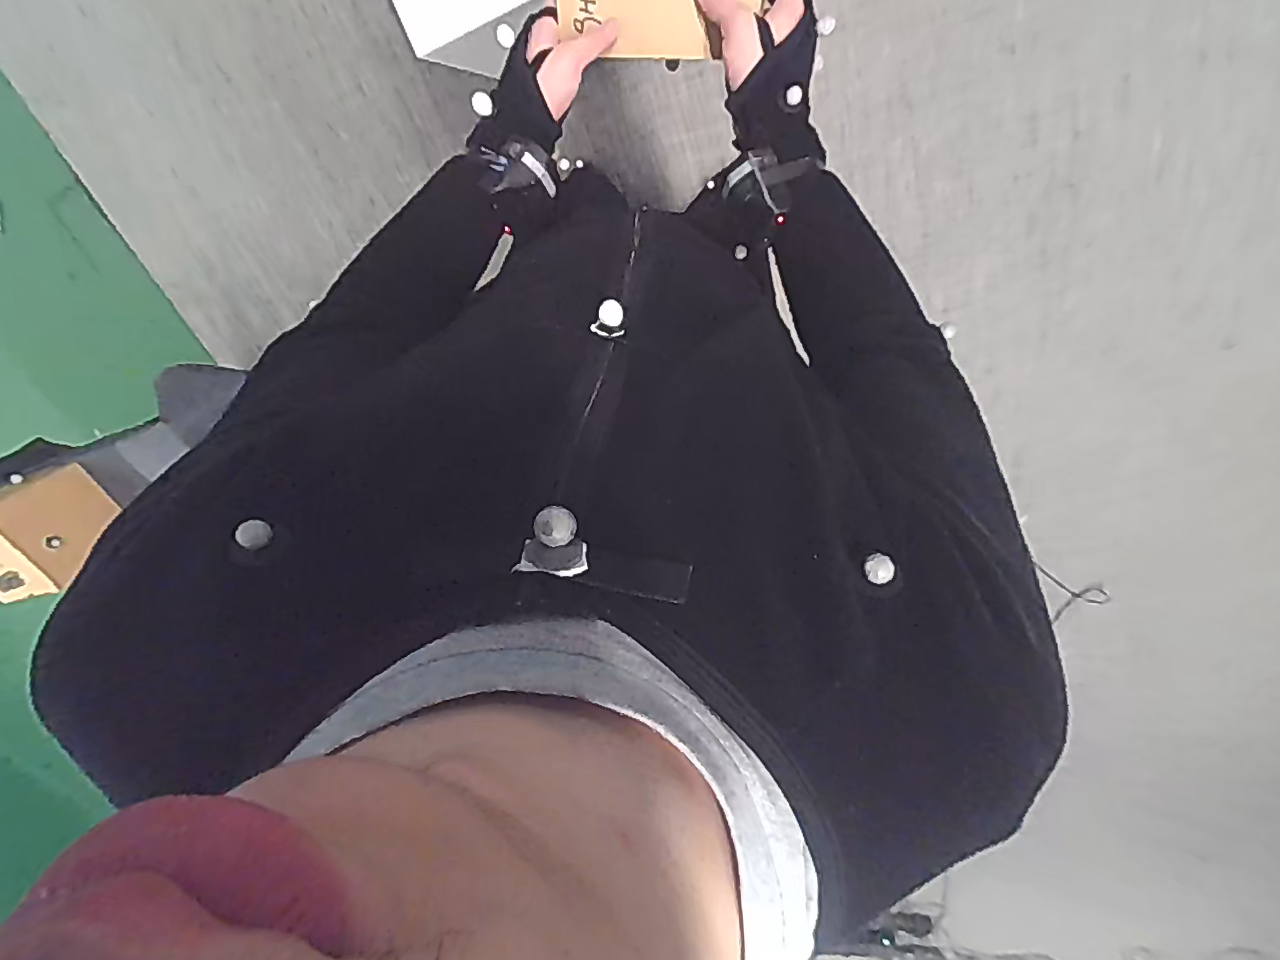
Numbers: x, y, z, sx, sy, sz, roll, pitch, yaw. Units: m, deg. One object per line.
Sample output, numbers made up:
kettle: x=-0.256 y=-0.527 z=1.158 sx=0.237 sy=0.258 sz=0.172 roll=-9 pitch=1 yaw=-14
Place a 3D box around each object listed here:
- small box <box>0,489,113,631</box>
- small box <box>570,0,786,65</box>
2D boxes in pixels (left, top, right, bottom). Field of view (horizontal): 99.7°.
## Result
small box: x=-1.097 y=0.142 z=0.936 sx=0.168 sy=0.176 sz=0.179 roll=-14 pitch=118 yaw=12
small box: x=0.036 y=-0.469 z=0.465 sx=0.179 sy=0.176 sz=0.168 roll=4 pitch=130 yaw=4
